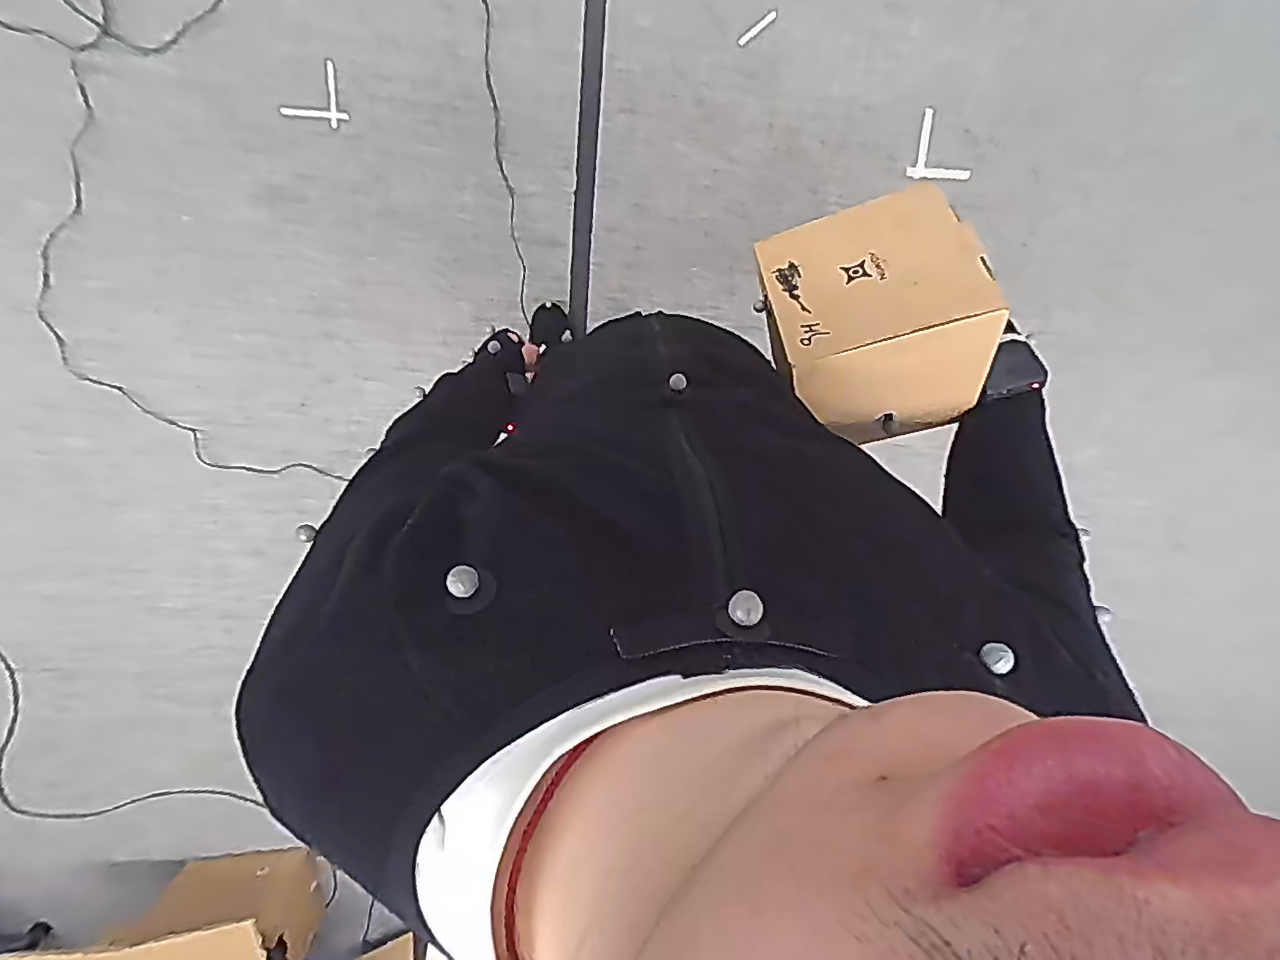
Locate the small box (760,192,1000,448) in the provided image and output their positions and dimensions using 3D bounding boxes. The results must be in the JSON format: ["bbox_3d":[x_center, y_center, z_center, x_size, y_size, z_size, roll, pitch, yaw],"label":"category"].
[{"bbox_3d":[0.234,-0.156,0.572,0.179,0.168,0.176,-13,149,13],"label":"small box"}]
